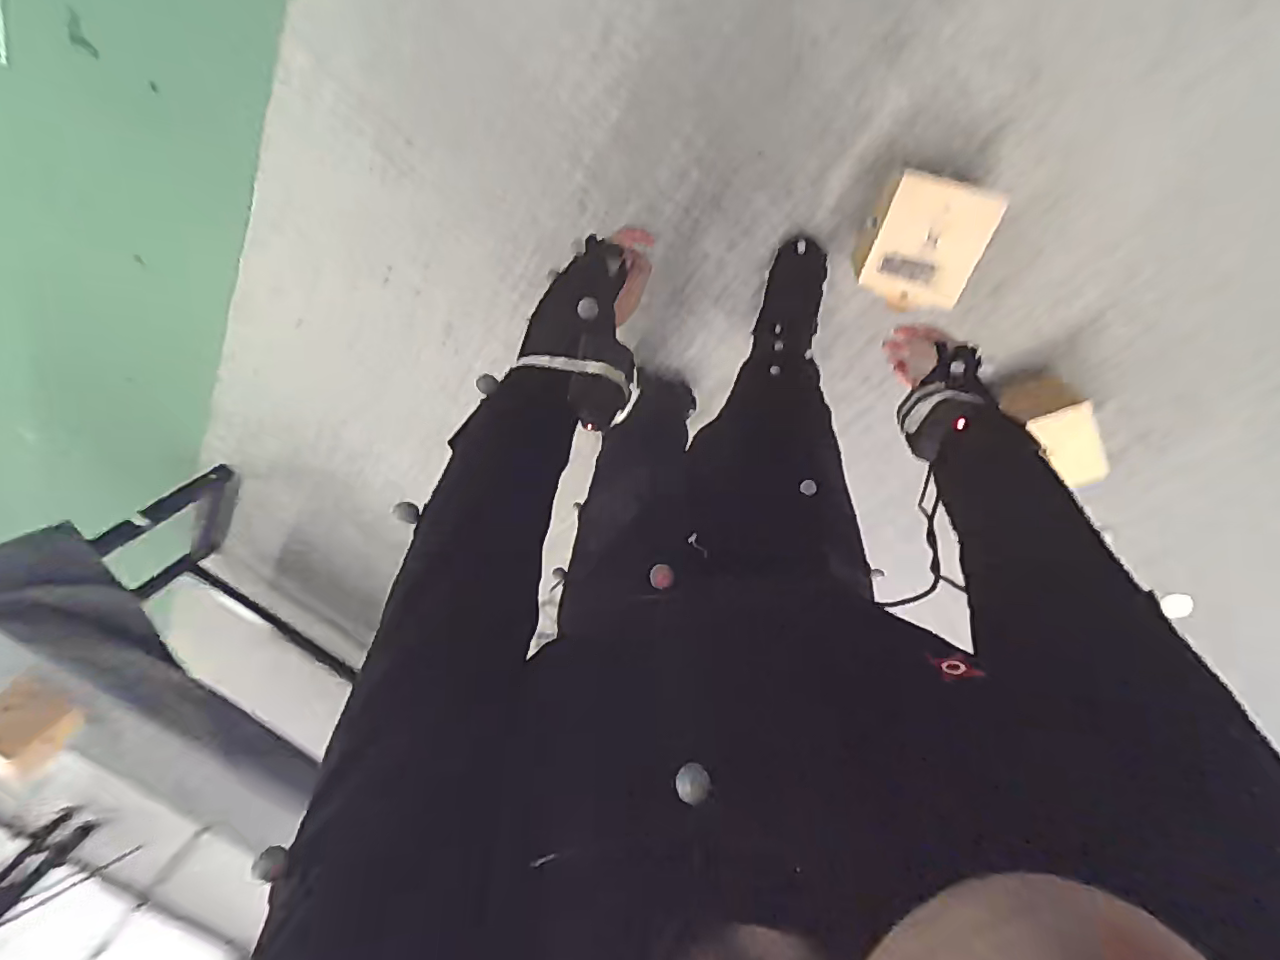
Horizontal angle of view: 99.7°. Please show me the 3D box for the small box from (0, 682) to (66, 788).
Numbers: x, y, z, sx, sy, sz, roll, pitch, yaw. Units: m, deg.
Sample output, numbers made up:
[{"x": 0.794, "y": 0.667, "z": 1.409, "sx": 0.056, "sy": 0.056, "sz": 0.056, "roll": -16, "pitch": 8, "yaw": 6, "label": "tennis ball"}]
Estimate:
[{"x": -1.660, "y": 0.660, "z": 1.401, "sx": 0.168, "sy": 0.176, "sz": 0.179, "roll": 34, "pitch": 126, "yaw": -4, "label": "small box"}]

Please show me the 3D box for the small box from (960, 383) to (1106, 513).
[{"x": 0.771, "y": -0.067, "z": 1.075, "sx": 0.179, "sy": 0.176, "sz": 0.168, "roll": -22, "pitch": 113, "yaw": 28, "label": "small box"}]
